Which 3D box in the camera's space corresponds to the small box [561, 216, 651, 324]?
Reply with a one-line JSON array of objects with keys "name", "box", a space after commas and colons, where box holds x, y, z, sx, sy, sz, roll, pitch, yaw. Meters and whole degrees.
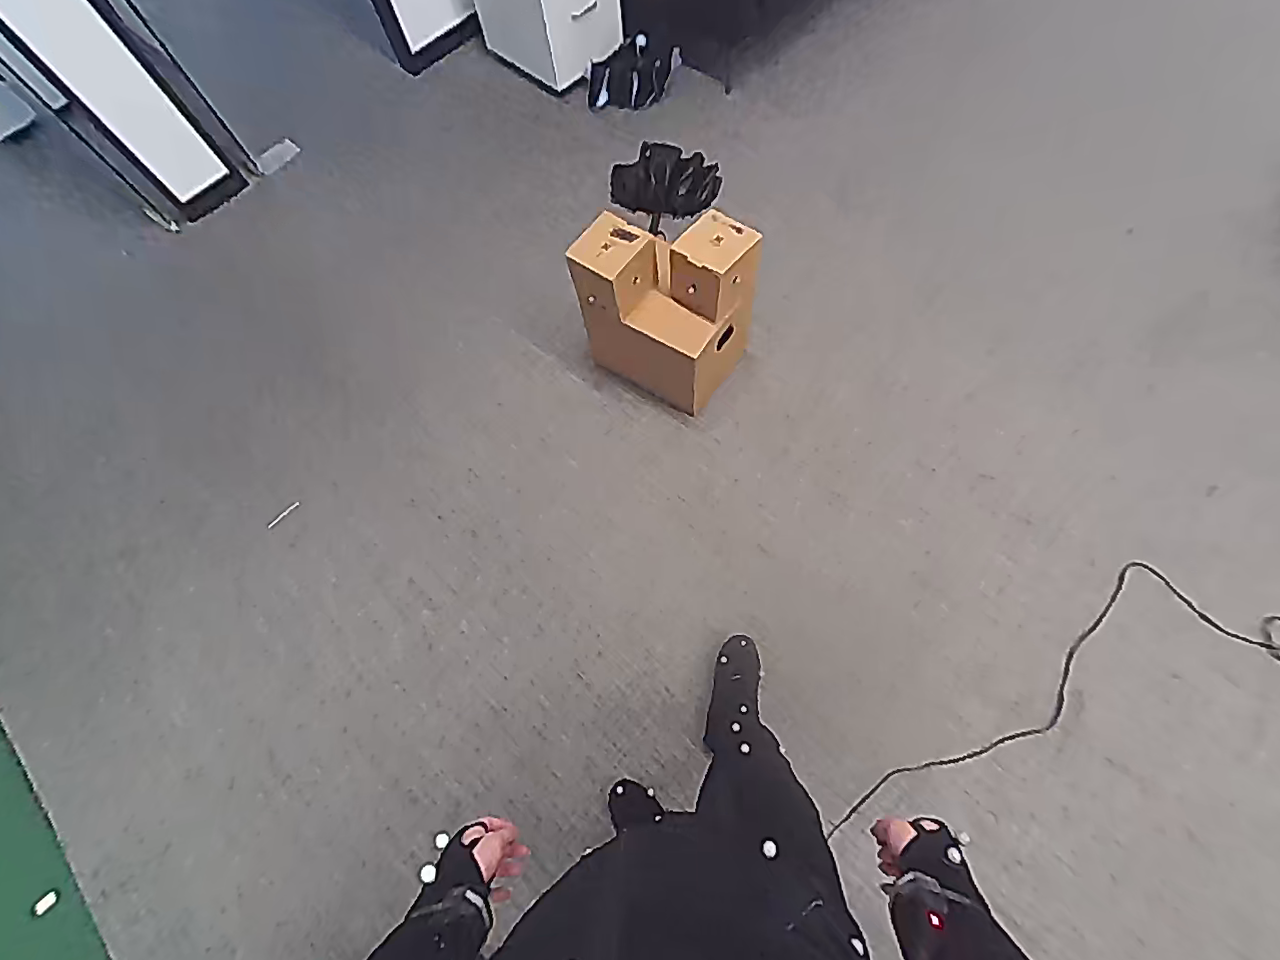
[{"name": "small box", "box": [-0.084, -0.561, 1.460, 0.168, 0.176, 0.179, 35, 75, 18]}]

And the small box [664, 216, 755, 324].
[{"name": "small box", "box": [0.182, -0.552, 1.438, 0.168, 0.176, 0.179, 37, 72, 18]}]
